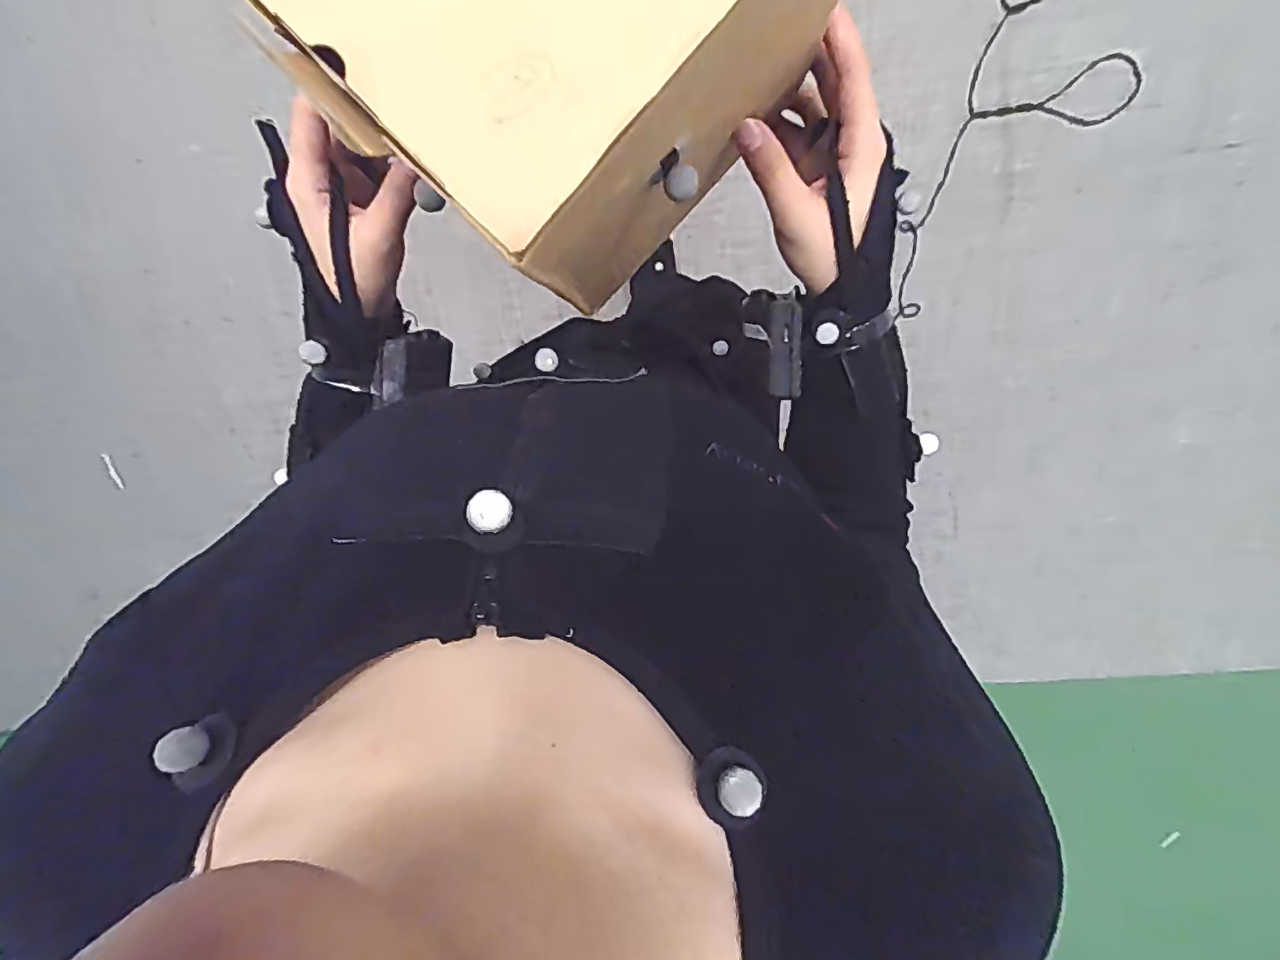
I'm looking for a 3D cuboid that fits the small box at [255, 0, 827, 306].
[{"bbox_3d":[-0.028,-0.204,0.249,0.168,0.176,0.179,44,100,-5],"label":"small box"}]
